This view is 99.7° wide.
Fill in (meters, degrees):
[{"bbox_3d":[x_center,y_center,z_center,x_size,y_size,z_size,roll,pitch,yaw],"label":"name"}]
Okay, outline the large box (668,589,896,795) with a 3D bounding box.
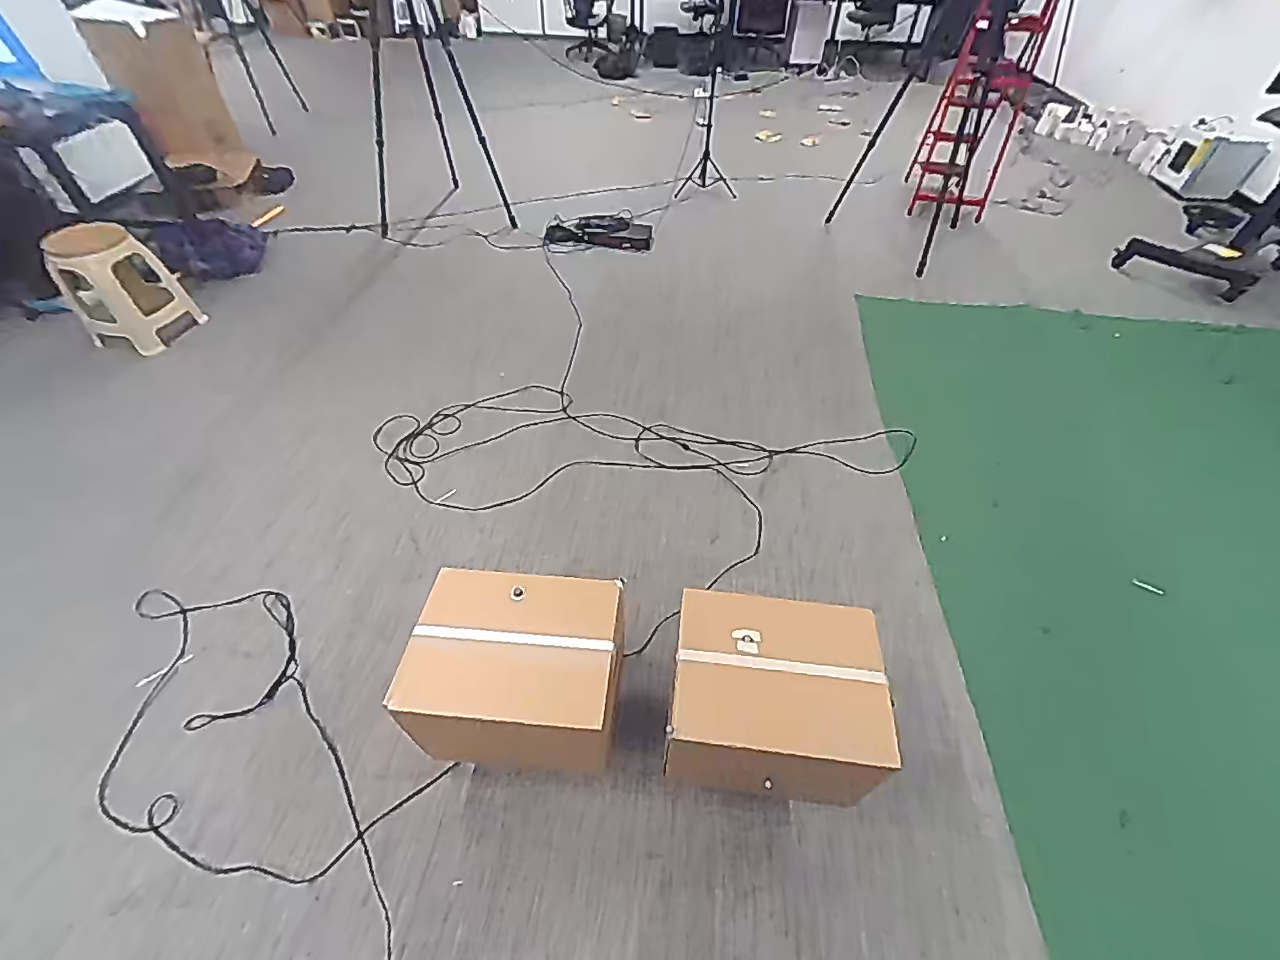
[{"bbox_3d":[0.278,0.466,1.180,0.408,0.320,0.320,6,48,5],"label":"large box"}]
